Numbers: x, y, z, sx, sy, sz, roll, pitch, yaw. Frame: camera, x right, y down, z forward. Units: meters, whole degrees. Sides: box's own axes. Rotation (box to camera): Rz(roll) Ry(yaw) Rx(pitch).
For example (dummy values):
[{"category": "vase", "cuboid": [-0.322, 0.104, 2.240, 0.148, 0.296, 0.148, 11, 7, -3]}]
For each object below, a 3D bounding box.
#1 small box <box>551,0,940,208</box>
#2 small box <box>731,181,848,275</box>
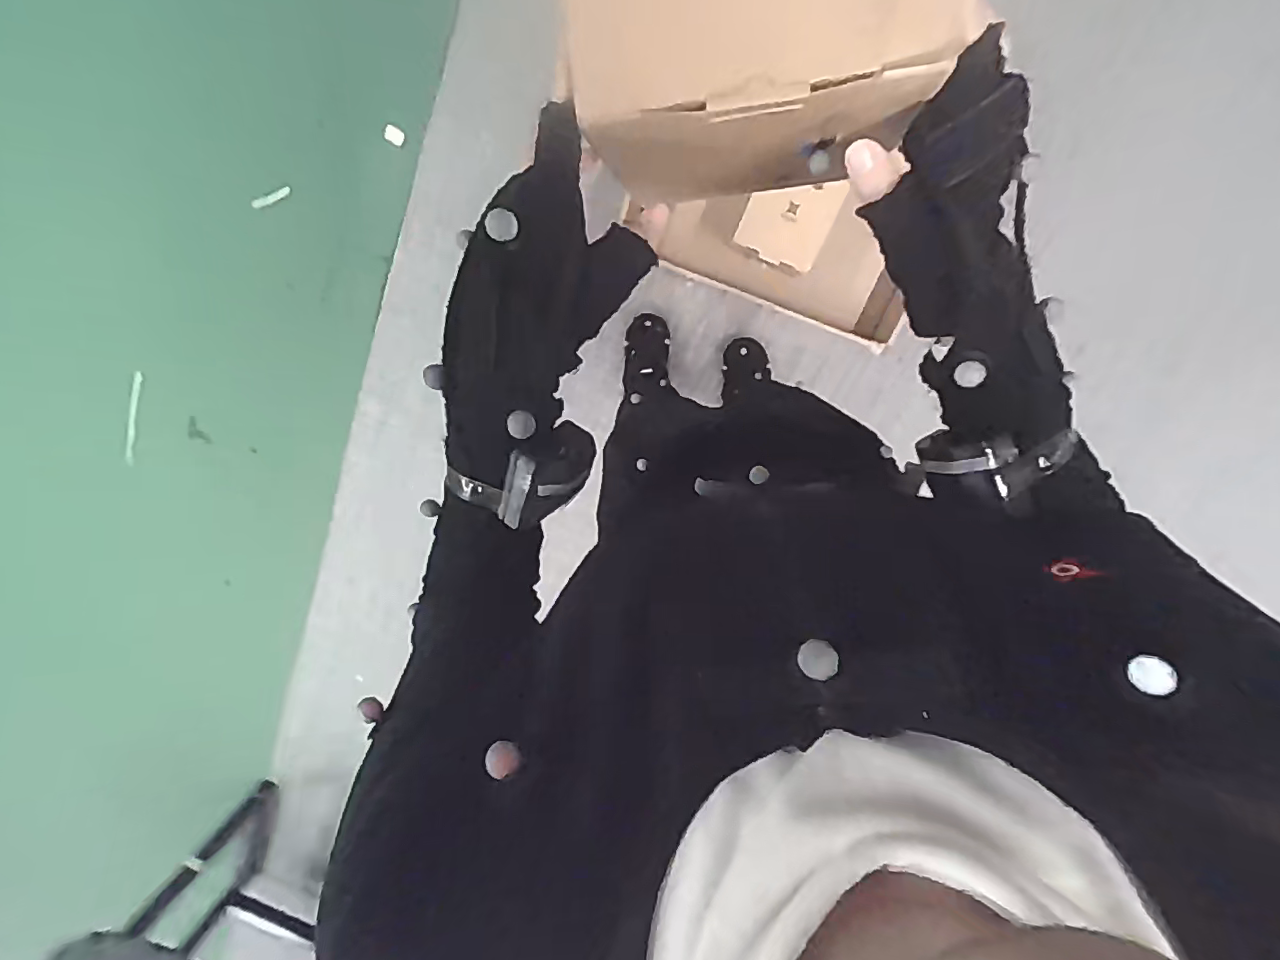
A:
[{"category": "small box", "cuboid": [0.052, -0.265, 0.297, 0.168, 0.176, 0.179, -4, 103, 12]}, {"category": "small box", "cuboid": [0.302, -0.540, 1.122, 0.168, 0.176, 0.179, 25, 110, 0]}]
